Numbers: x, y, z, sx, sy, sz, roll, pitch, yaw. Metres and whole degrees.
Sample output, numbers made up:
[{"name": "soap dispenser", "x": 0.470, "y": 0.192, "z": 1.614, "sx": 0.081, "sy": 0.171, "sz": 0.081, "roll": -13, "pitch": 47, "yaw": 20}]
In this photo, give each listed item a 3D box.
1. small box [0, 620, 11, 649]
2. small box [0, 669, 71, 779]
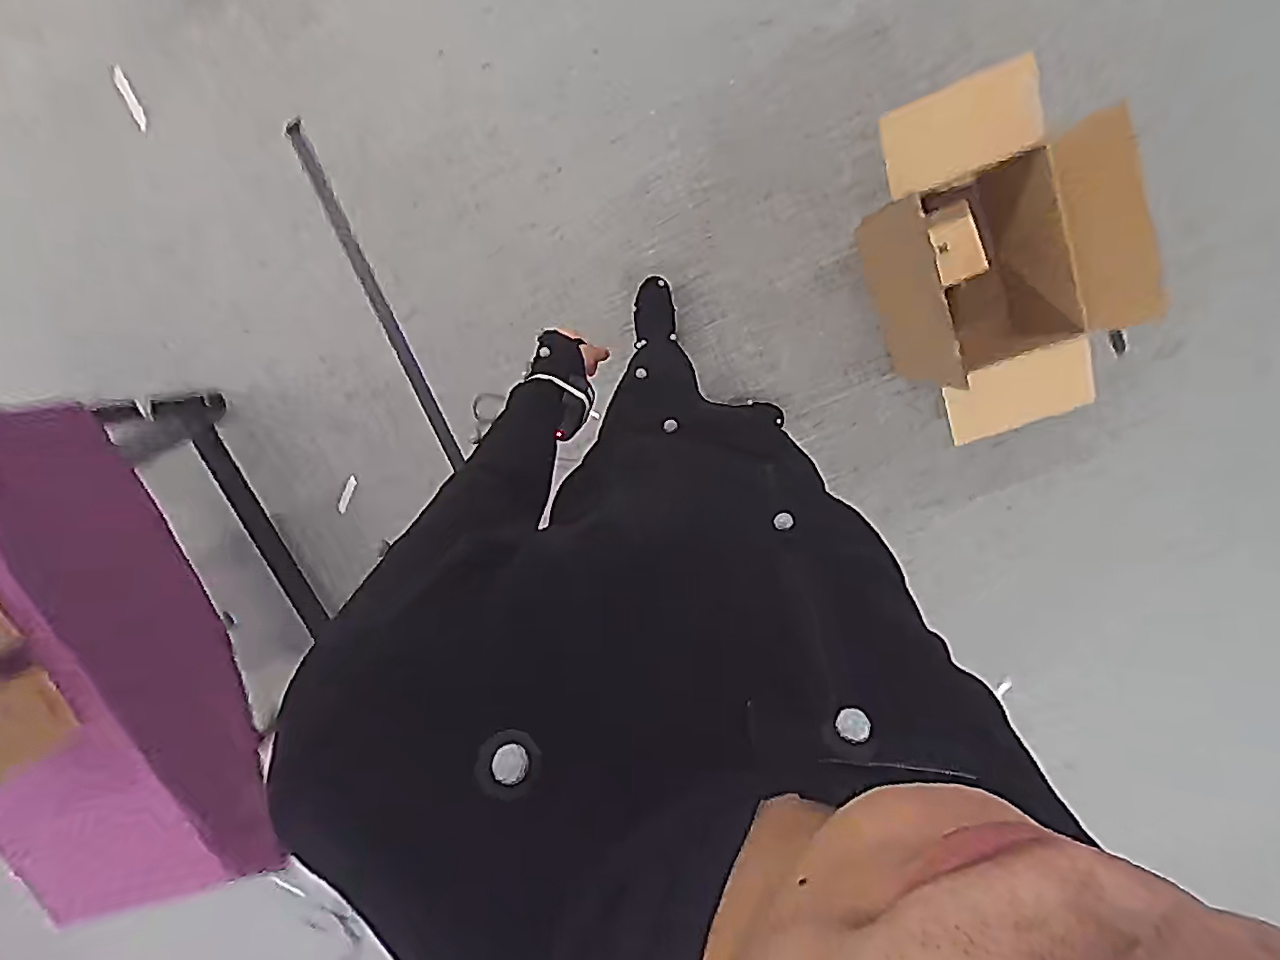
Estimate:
[{"name": "small box", "x": -1.440, "y": 0.321, "z": 1.078, "sx": 0.179, "sy": 0.176, "sz": 0.168, "roll": -24, "pitch": 101, "yaw": 14}, {"name": "small box", "x": -1.359, "y": 0.520, "z": 1.125, "sx": 0.179, "sy": 0.176, "sz": 0.168, "roll": -17, "pitch": 102, "yaw": 12}]
